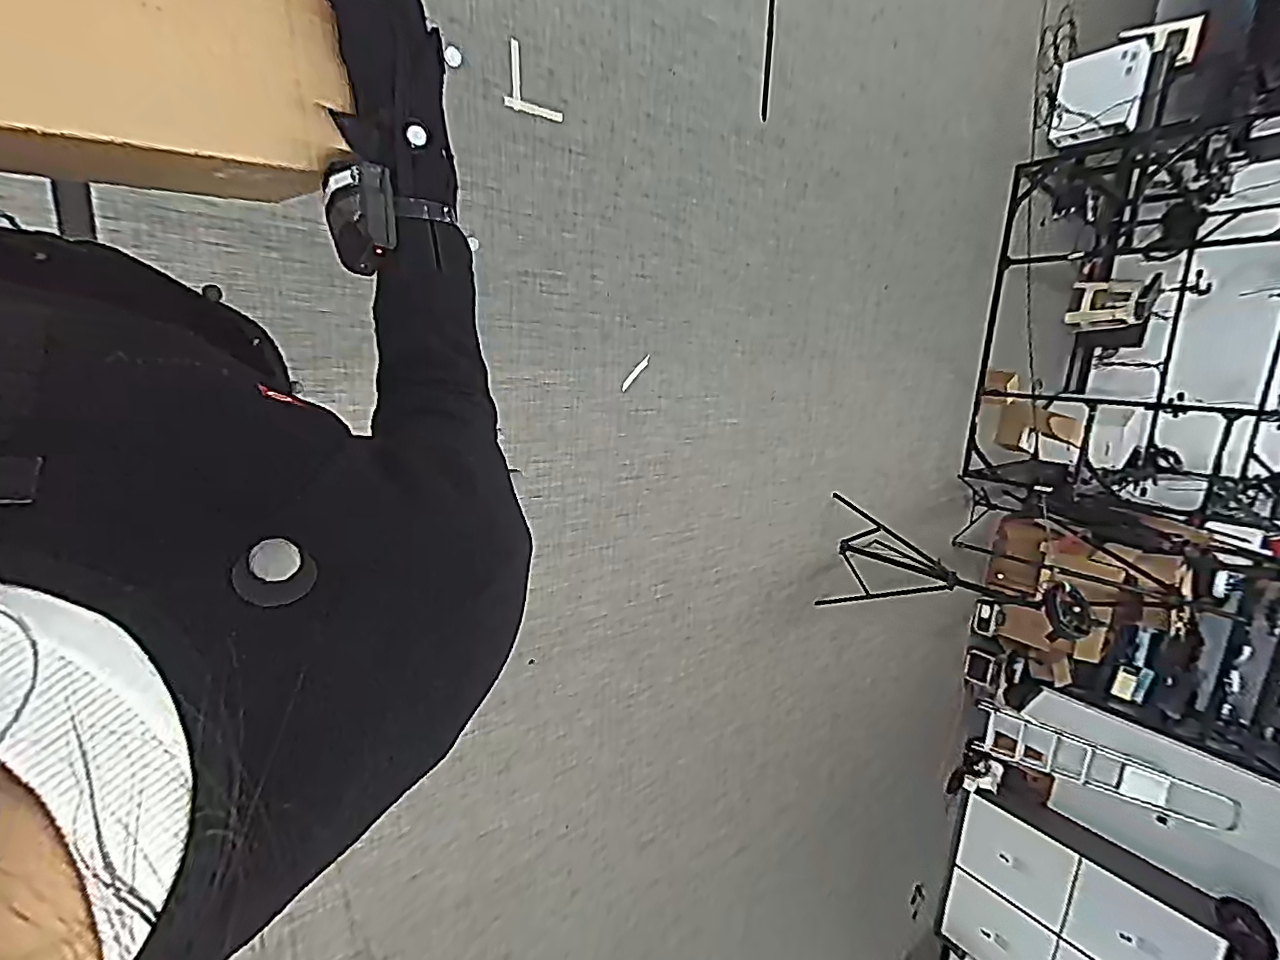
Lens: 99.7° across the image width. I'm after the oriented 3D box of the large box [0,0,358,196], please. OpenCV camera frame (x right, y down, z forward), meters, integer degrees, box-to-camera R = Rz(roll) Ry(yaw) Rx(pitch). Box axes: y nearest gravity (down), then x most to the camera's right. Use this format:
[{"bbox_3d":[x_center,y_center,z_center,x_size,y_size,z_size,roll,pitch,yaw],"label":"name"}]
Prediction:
[{"bbox_3d":[-0.455,-0.377,0.332,0.408,0.320,0.320,-16,118,-40],"label":"large box"}]
